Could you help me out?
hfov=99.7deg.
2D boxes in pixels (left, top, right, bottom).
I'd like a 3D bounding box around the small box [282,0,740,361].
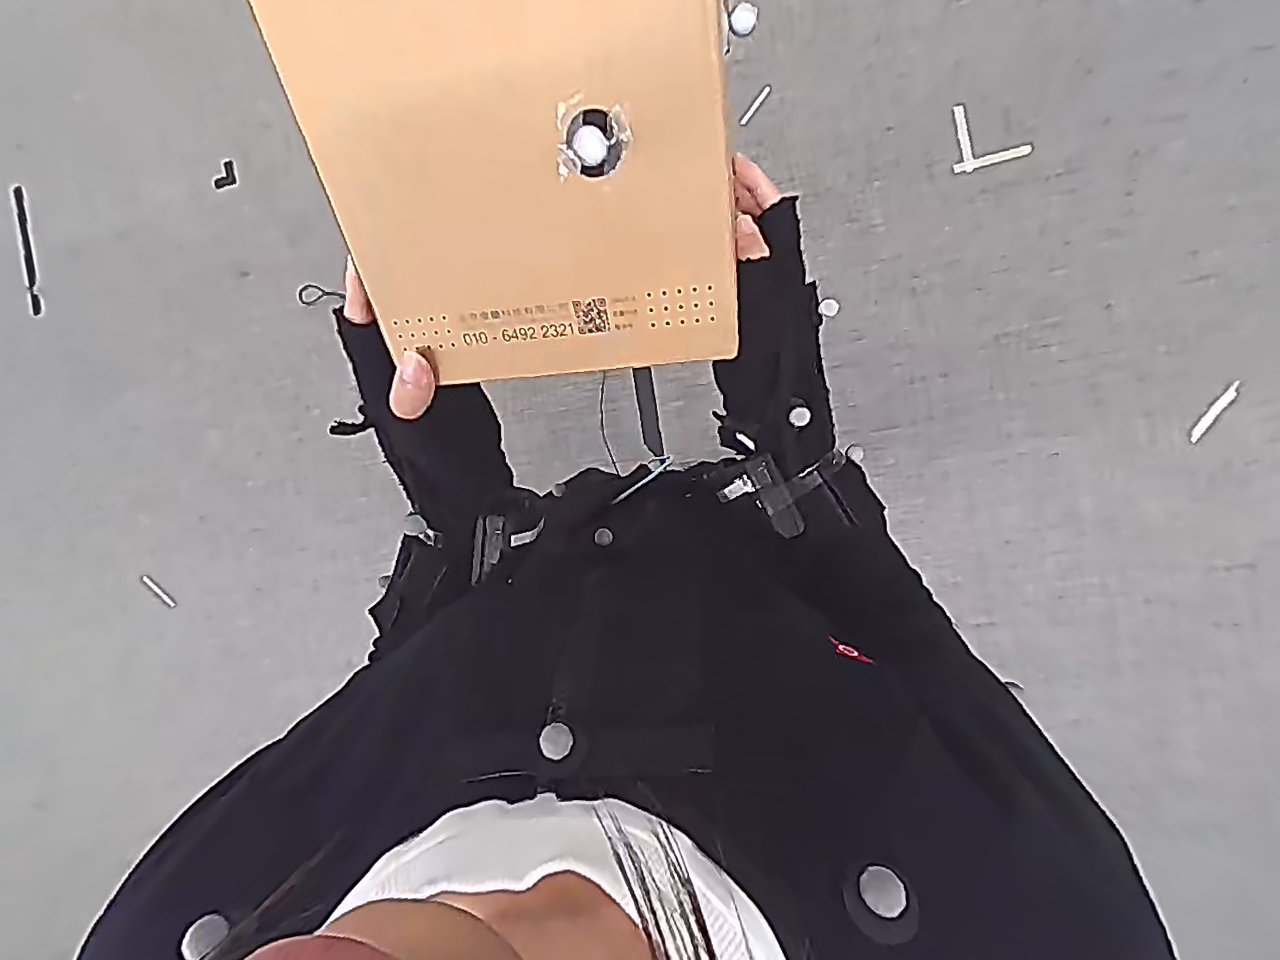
[{"bbox_3d":[-0.033,-0.171,0.299,0.168,0.179,0.176,-1,123,13],"label":"small box"}]
